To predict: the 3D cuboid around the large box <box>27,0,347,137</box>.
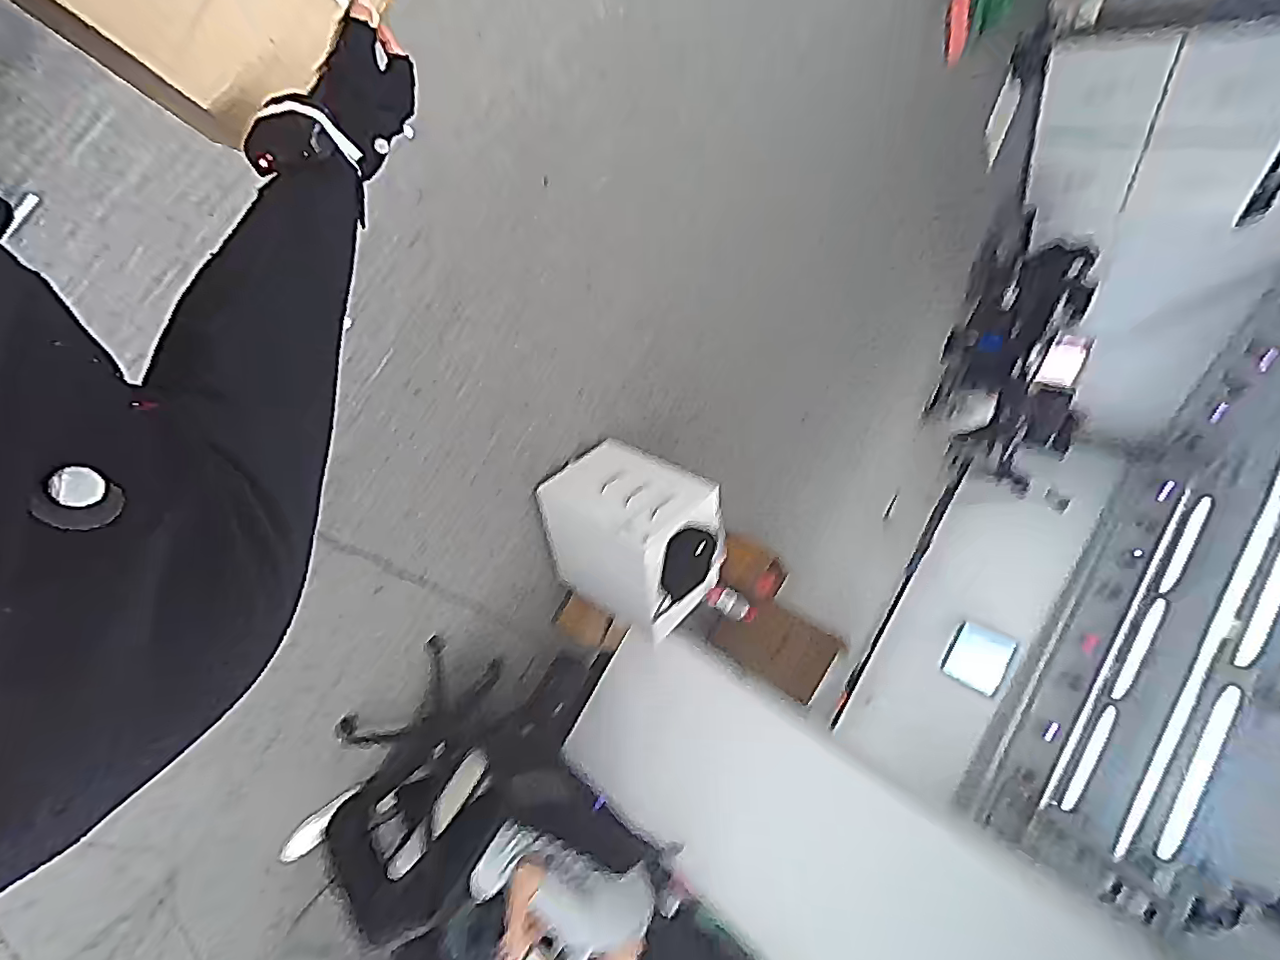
[{"bbox_3d":[-0.468,-0.559,0.420,0.408,0.320,0.320,27,94,-55],"label":"large box"}]
